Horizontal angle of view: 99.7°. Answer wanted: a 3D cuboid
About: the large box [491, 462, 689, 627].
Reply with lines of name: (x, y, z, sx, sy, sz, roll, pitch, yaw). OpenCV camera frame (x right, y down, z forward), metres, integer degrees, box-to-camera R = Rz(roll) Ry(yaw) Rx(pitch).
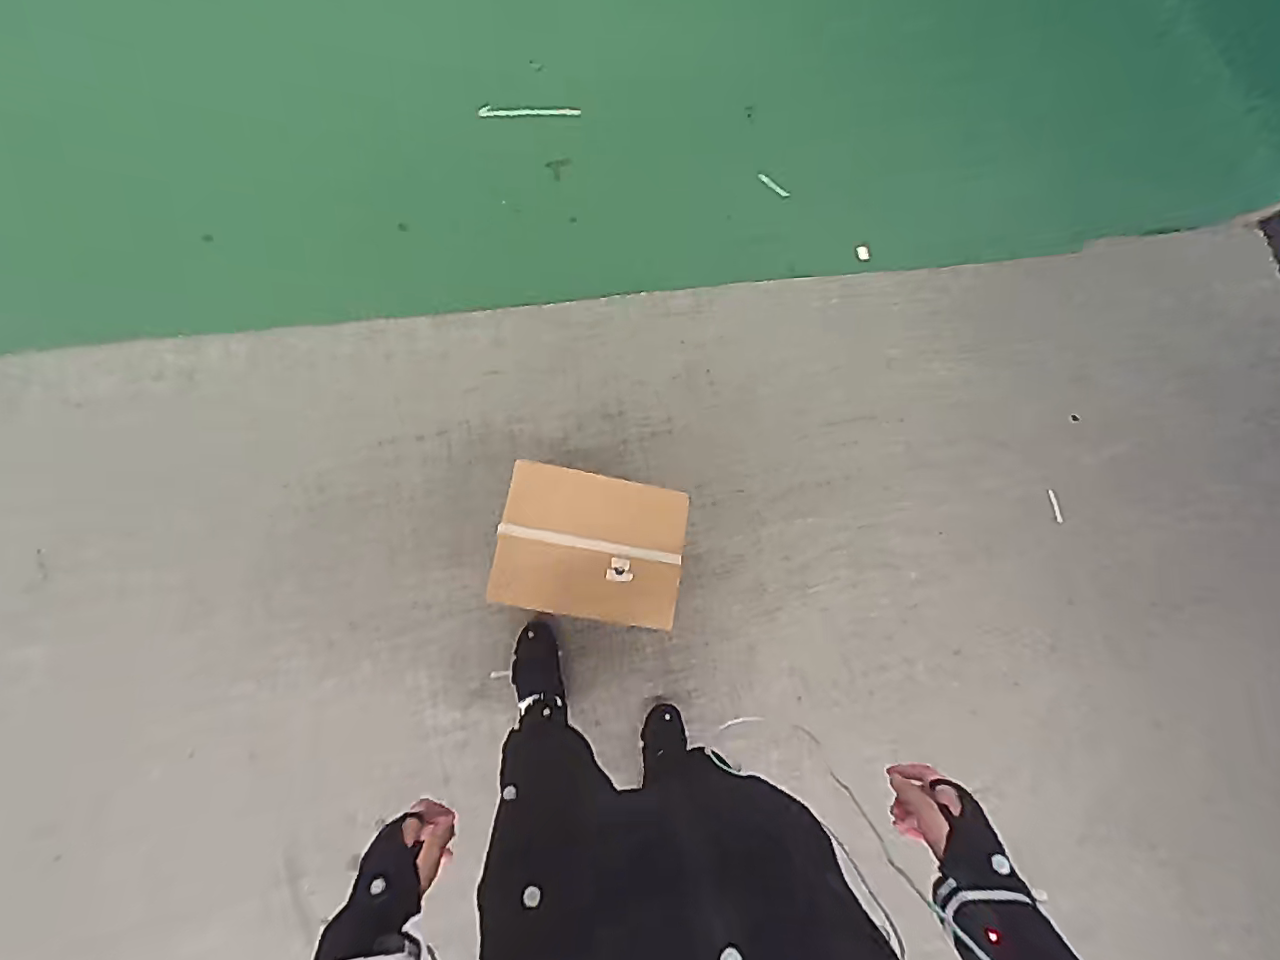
large box: (-0.127, 0.172, 1.332, 0.408, 0.320, 0.320, 11, 77, -8)
